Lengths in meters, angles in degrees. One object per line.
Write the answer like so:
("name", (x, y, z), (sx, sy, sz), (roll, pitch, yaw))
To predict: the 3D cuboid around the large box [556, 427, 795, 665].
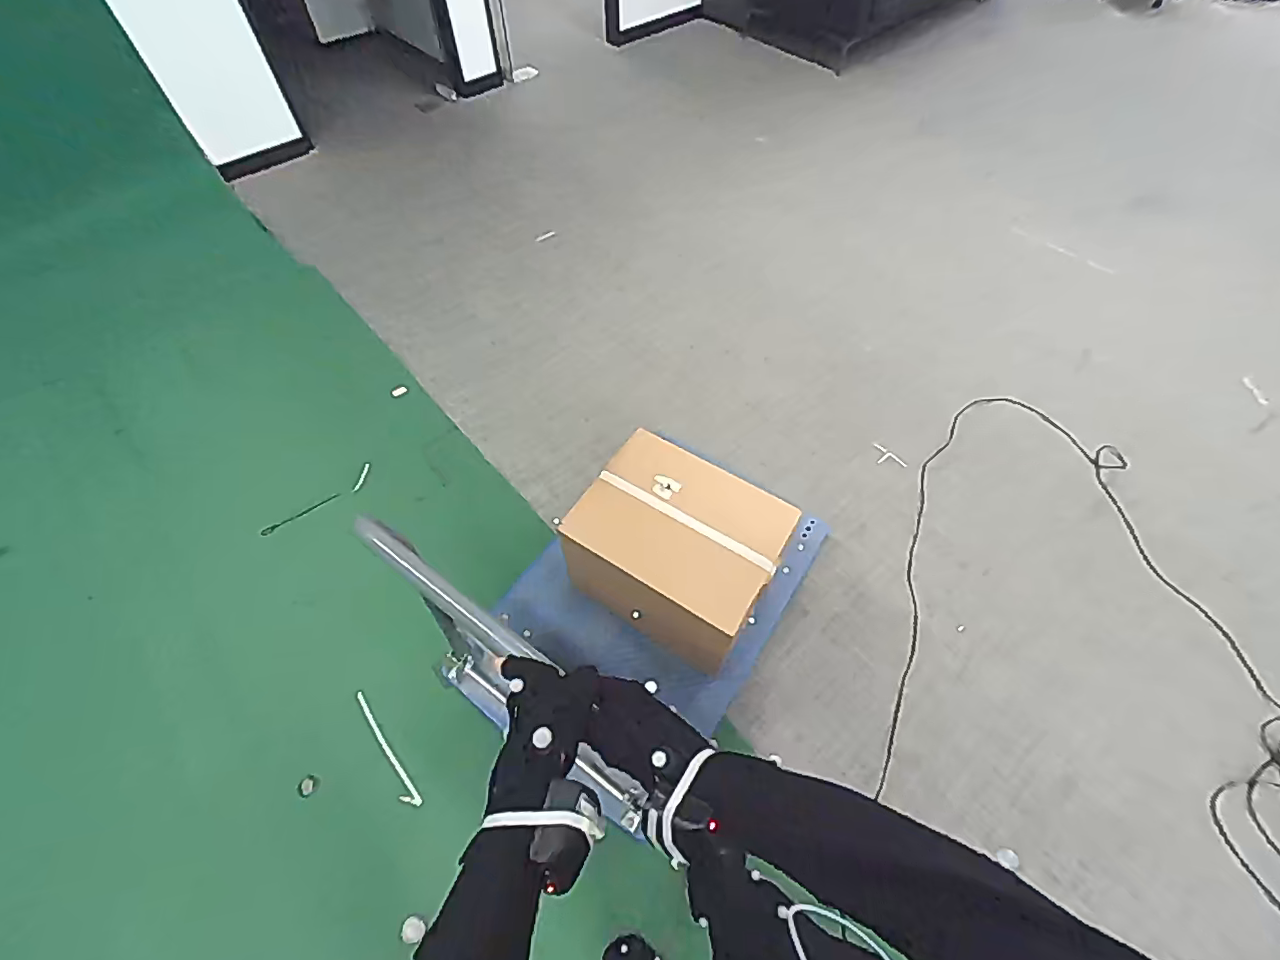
("large box", (0.078, 0.152, 1.224), (0.408, 0.320, 0.320), (28, 60, 17))
